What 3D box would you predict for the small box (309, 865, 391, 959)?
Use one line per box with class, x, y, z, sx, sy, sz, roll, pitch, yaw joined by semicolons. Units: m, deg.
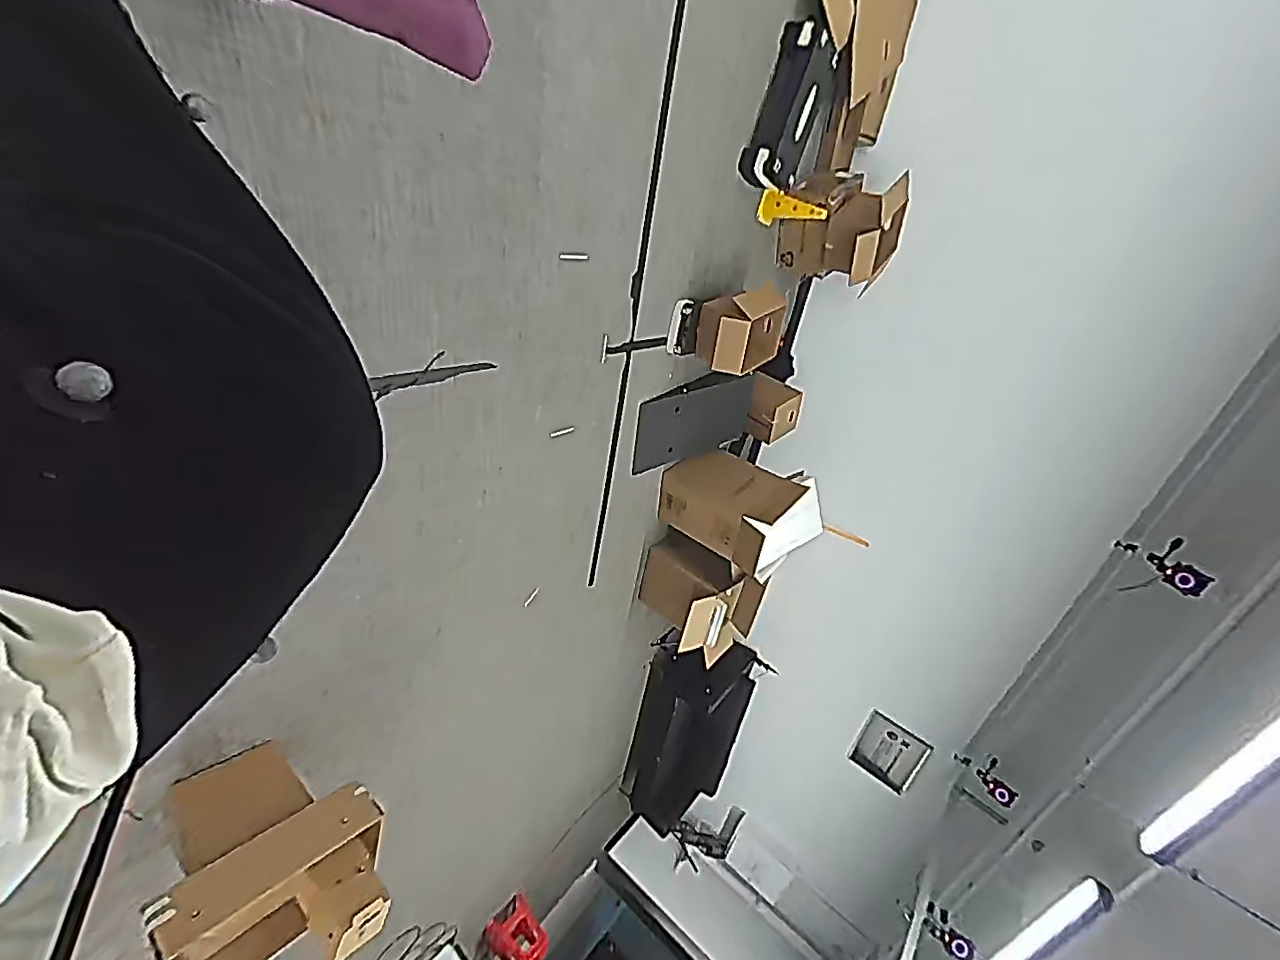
small box;-0.954;1.416;1.774;0.168;0.176;0.179;-4;120;-57
